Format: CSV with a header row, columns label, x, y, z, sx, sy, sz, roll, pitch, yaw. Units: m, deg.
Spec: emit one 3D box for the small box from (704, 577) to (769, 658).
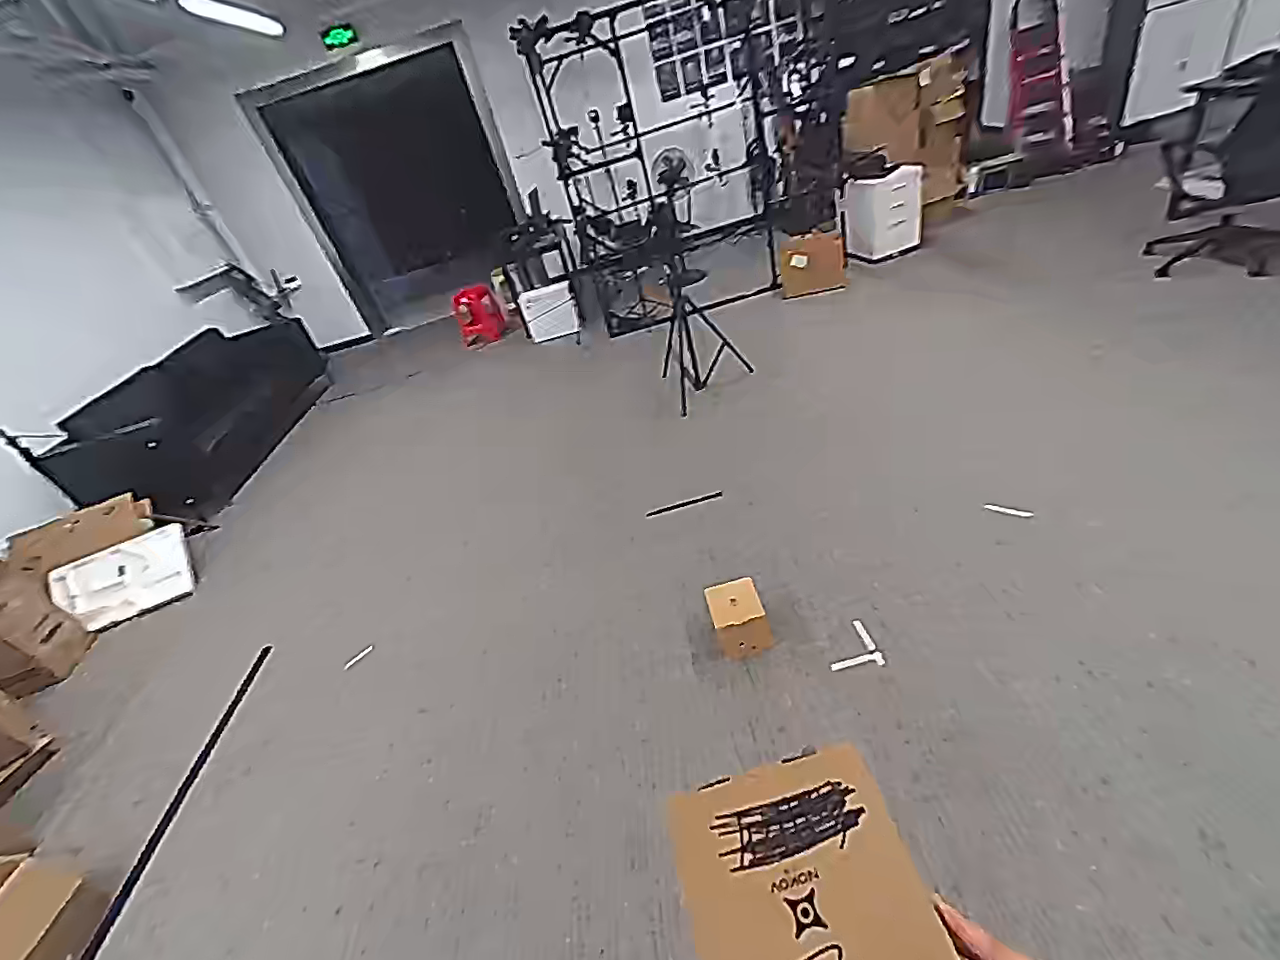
label,x,y,z,sx,sy,sz,roll,pitch,yaw
small box,0.324,0.461,1.816,0.168,0.176,0.179,-16,35,2
